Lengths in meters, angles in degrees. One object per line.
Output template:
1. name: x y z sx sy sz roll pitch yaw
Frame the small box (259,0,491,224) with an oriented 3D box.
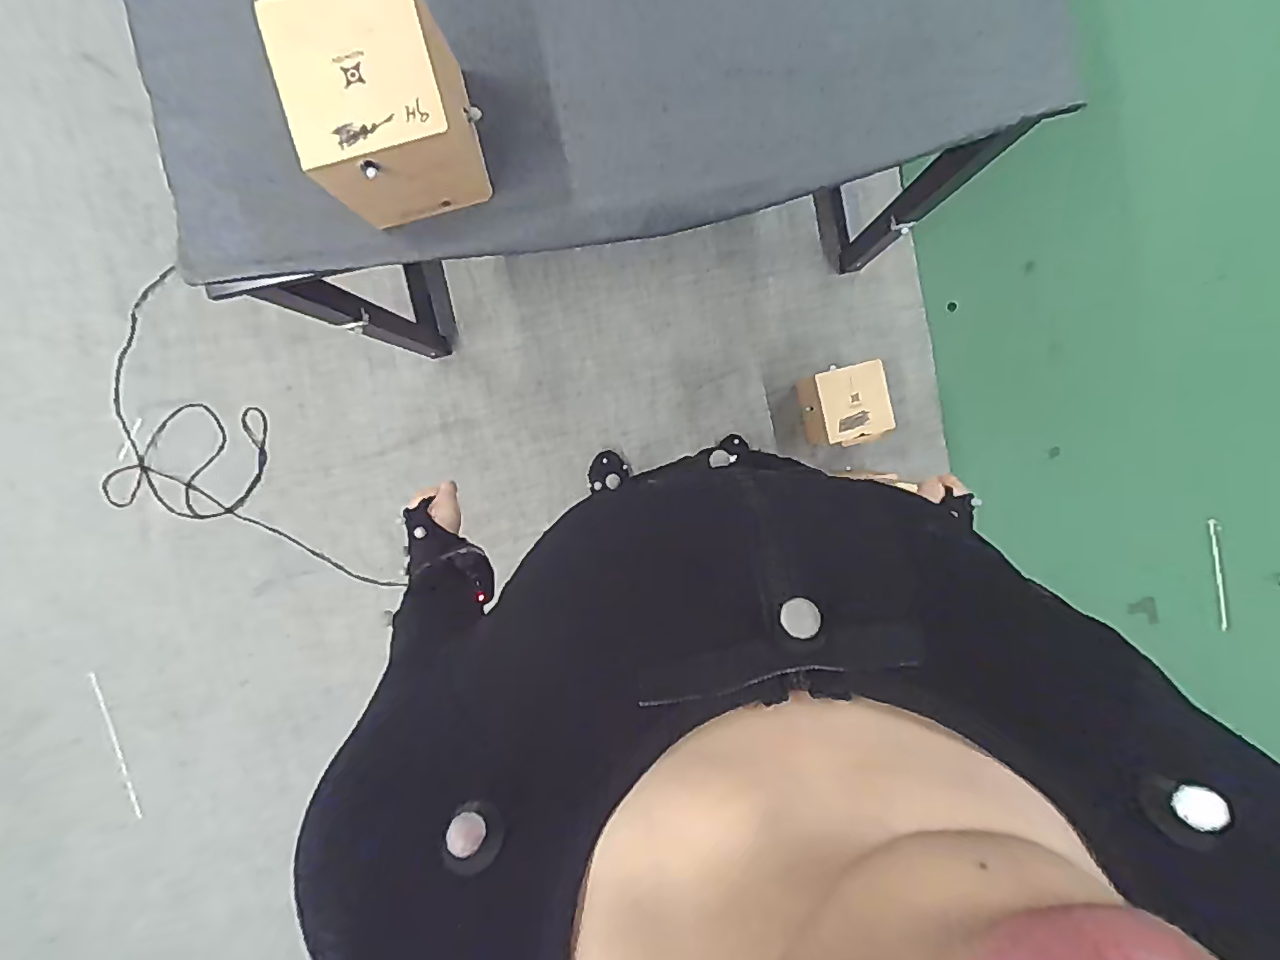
1. small box: -0.297 -0.439 0.644 0.168 0.176 0.179 -13 94 3

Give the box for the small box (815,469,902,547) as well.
1. small box: 0.555 0.067 1.390 0.168 0.176 0.179 -3 95 2

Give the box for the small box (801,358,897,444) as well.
1. small box: 0.522 -0.195 1.369 0.168 0.176 0.179 -13 93 3
